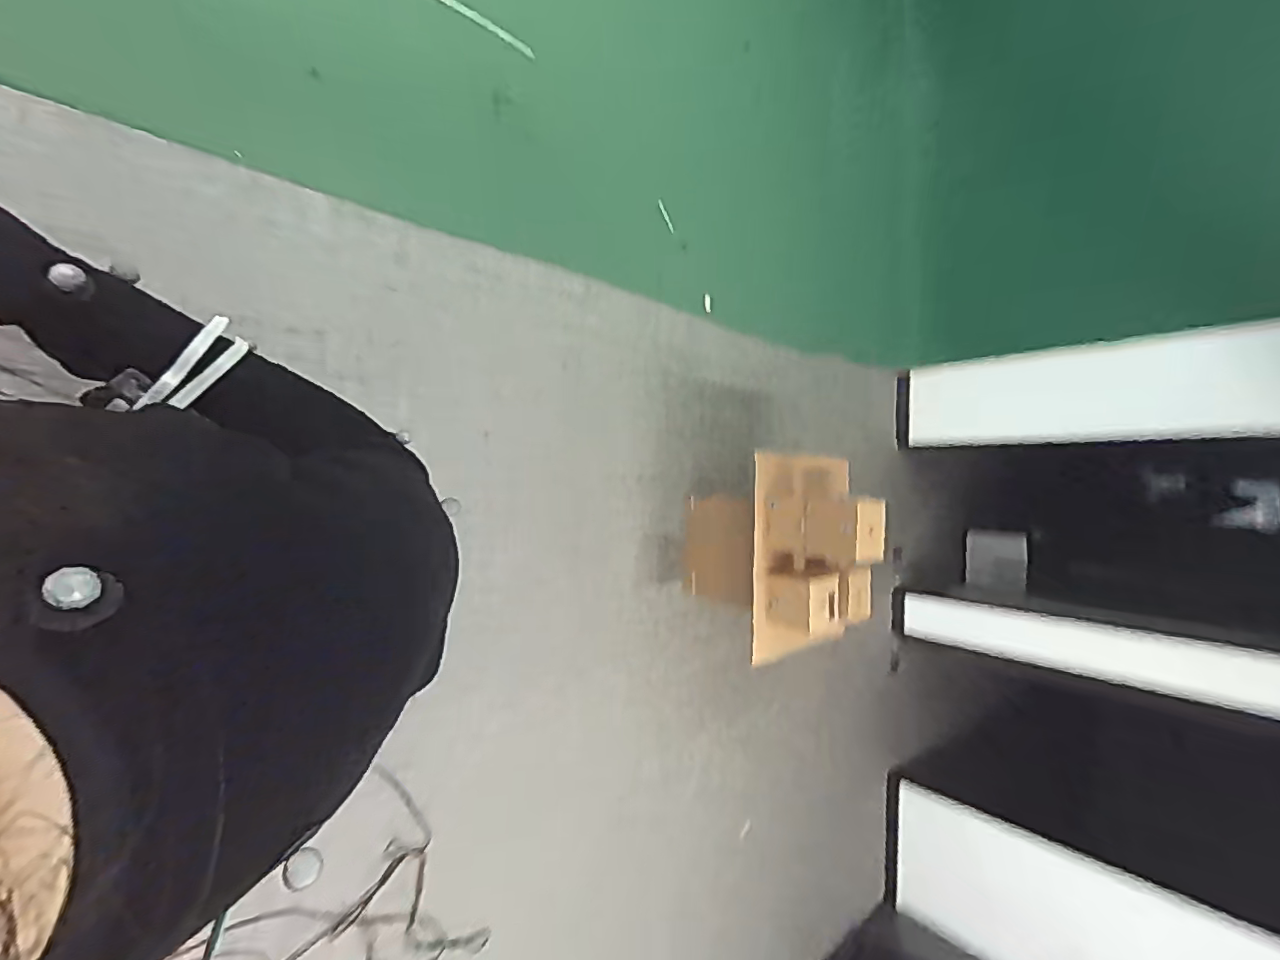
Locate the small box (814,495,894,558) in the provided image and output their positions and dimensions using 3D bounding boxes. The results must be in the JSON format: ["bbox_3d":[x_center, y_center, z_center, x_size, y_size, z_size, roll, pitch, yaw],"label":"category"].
[{"bbox_3d":[0.639,0.135,1.621,0.168,0.176,0.179,3,89,-39],"label":"small box"}]
